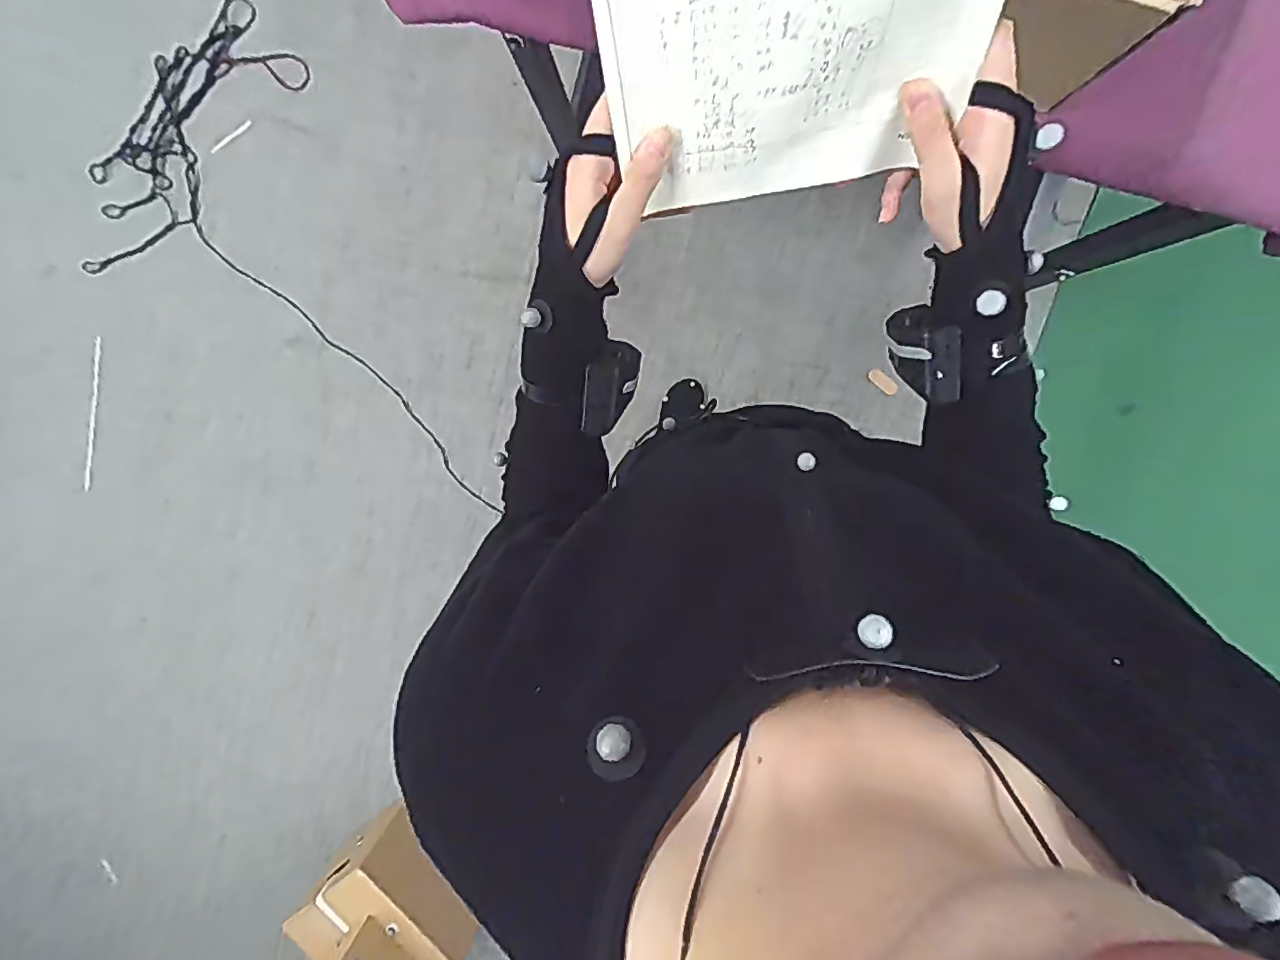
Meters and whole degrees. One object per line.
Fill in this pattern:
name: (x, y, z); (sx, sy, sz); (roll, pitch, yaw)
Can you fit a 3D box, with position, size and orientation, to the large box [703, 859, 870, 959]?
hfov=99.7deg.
large box: (0.390, 1.339, 1.529); (0.408, 0.320, 0.320); (2, 99, 3)
